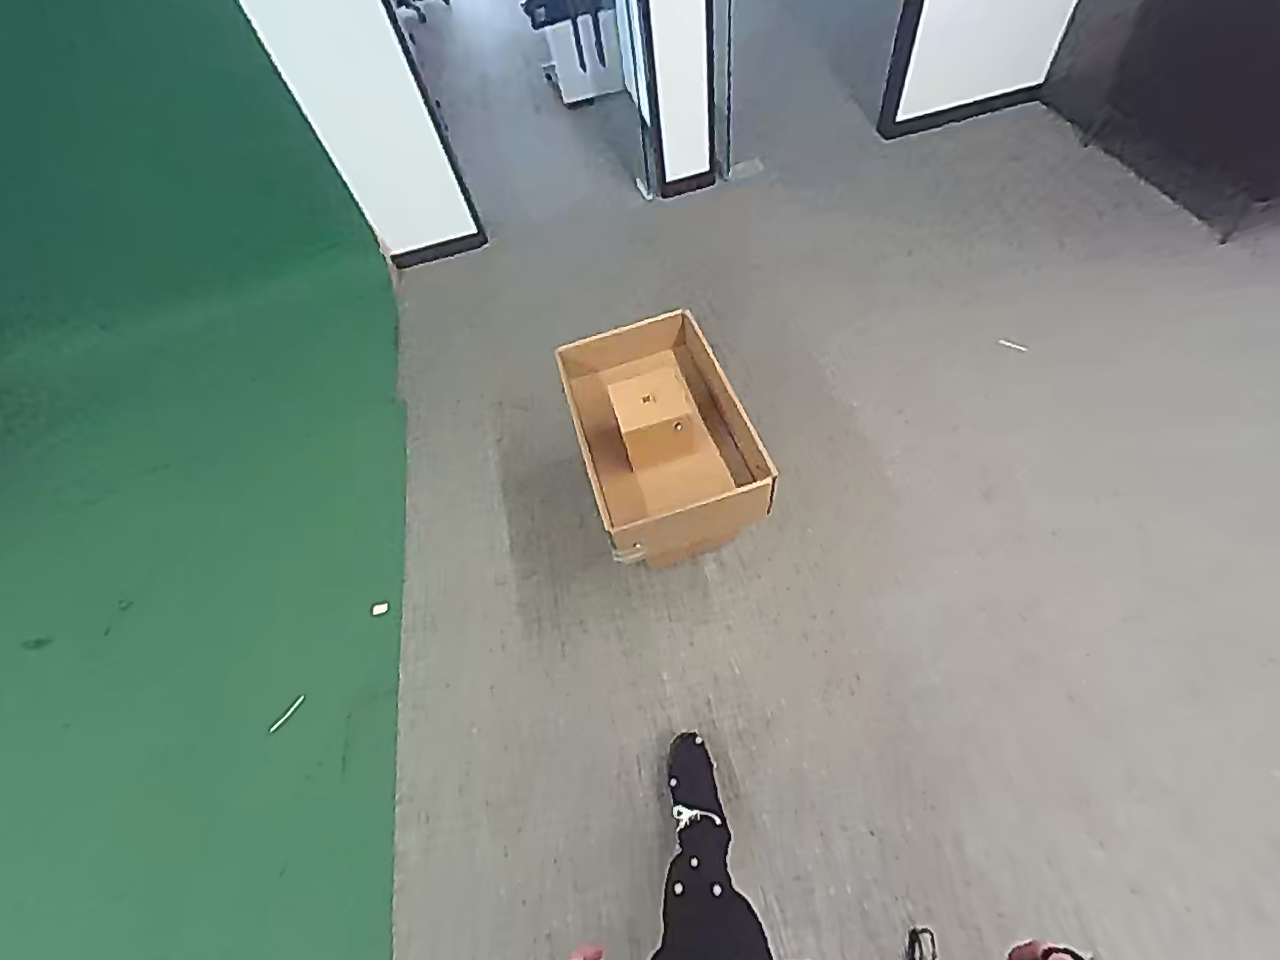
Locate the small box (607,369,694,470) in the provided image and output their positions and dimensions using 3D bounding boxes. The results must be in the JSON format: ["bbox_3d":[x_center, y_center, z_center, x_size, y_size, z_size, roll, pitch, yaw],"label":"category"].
[{"bbox_3d":[0.030,-0.148,1.376,0.179,0.176,0.168,-17,56,-3],"label":"small box"}]
